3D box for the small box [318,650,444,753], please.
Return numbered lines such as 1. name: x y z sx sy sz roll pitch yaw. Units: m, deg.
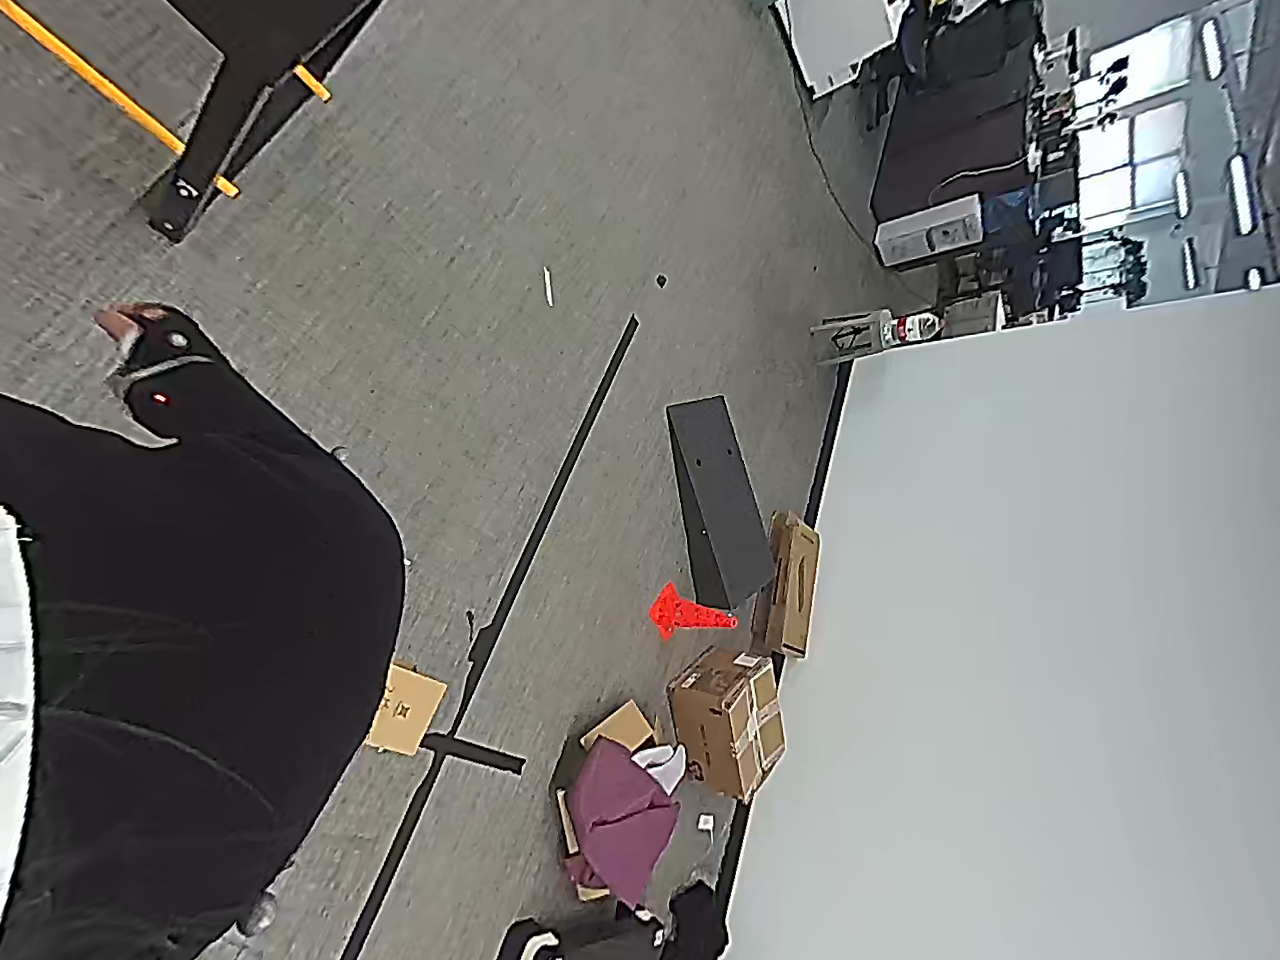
1. small box: -0.607 0.513 1.269 0.179 0.176 0.168 44 57 -39
